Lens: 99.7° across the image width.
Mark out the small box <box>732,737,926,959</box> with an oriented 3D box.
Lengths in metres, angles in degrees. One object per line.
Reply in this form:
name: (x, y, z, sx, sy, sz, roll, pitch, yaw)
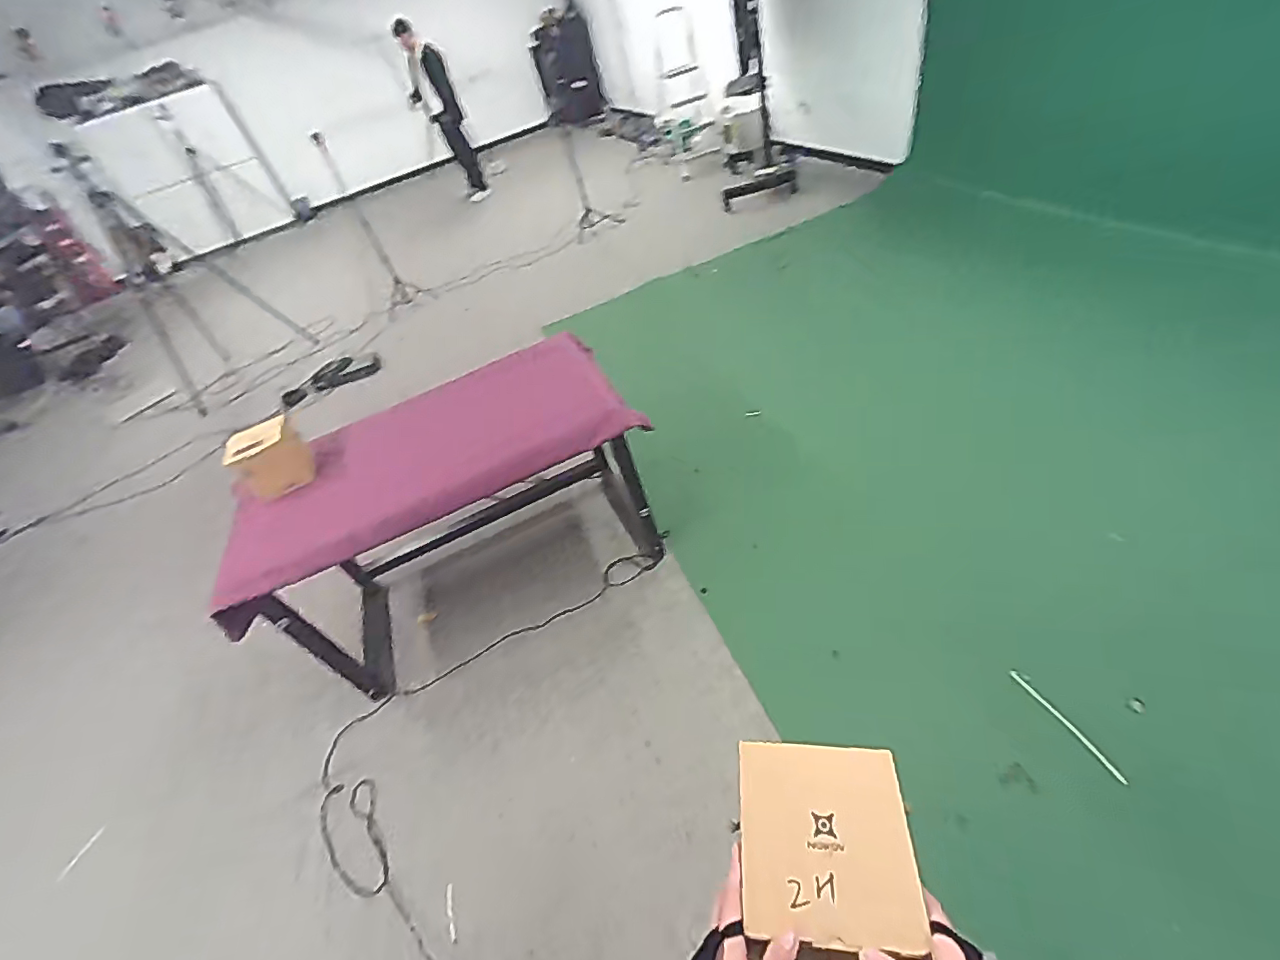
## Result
small box: (0.187, 0.411, 0.596, 0.168, 0.176, 0.179, -1, 43, 9)
